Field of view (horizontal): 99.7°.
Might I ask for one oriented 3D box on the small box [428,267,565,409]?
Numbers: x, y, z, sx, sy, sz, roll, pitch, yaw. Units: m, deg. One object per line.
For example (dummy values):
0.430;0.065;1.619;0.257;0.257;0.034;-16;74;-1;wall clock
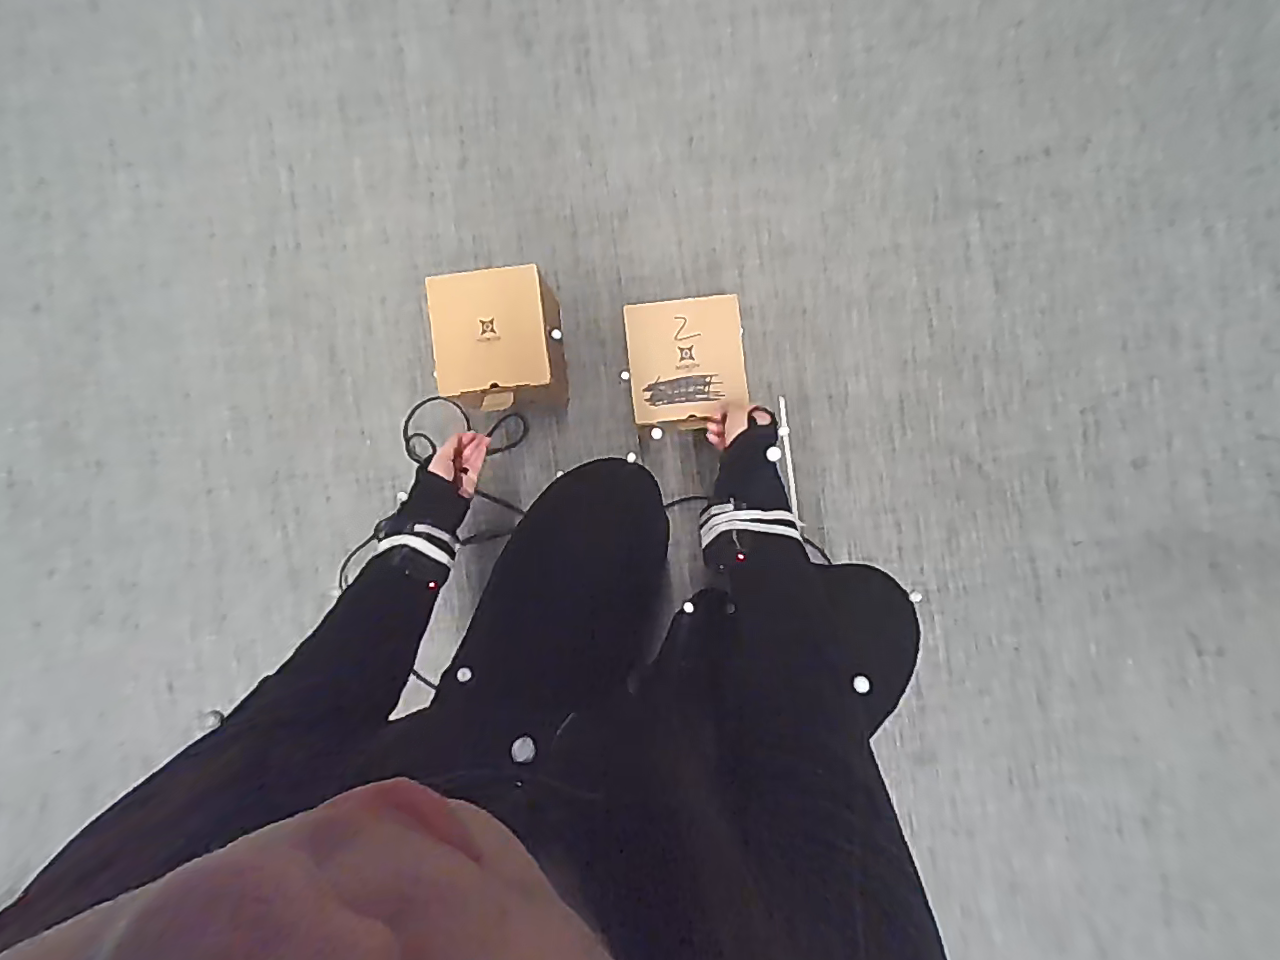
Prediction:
-0.219;-0.217;0.863;0.168;0.176;0.179;-6;91;1;small box
